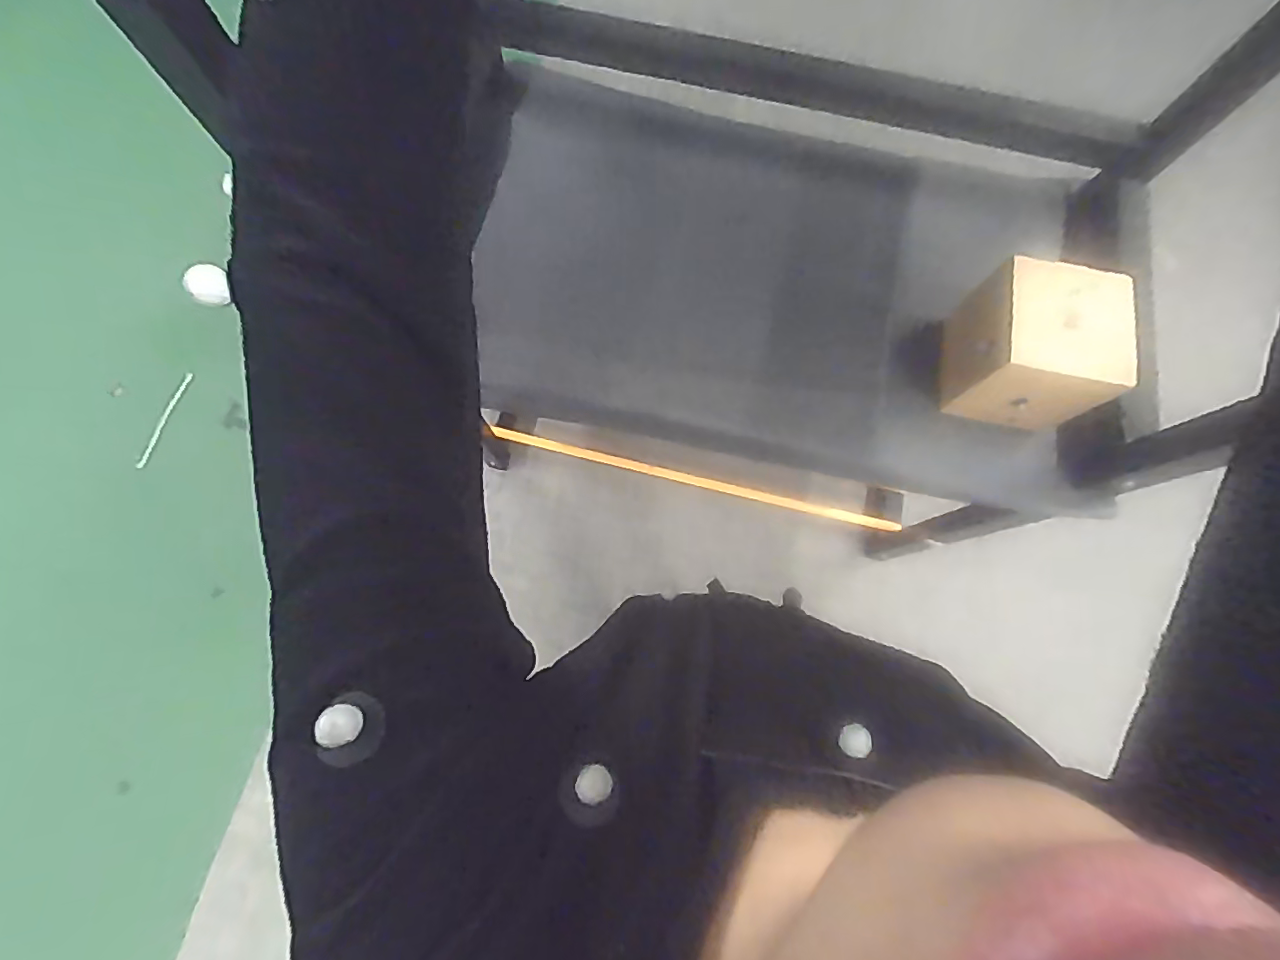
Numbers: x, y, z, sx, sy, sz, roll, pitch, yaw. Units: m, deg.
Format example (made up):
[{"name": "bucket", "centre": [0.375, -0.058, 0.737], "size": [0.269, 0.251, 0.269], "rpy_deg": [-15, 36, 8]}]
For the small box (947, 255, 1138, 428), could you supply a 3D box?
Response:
[{"name": "small box", "centre": [0.584, -0.195, 0.804], "size": [0.168, 0.176, 0.179], "rpy_deg": [12, 74, 2]}]
